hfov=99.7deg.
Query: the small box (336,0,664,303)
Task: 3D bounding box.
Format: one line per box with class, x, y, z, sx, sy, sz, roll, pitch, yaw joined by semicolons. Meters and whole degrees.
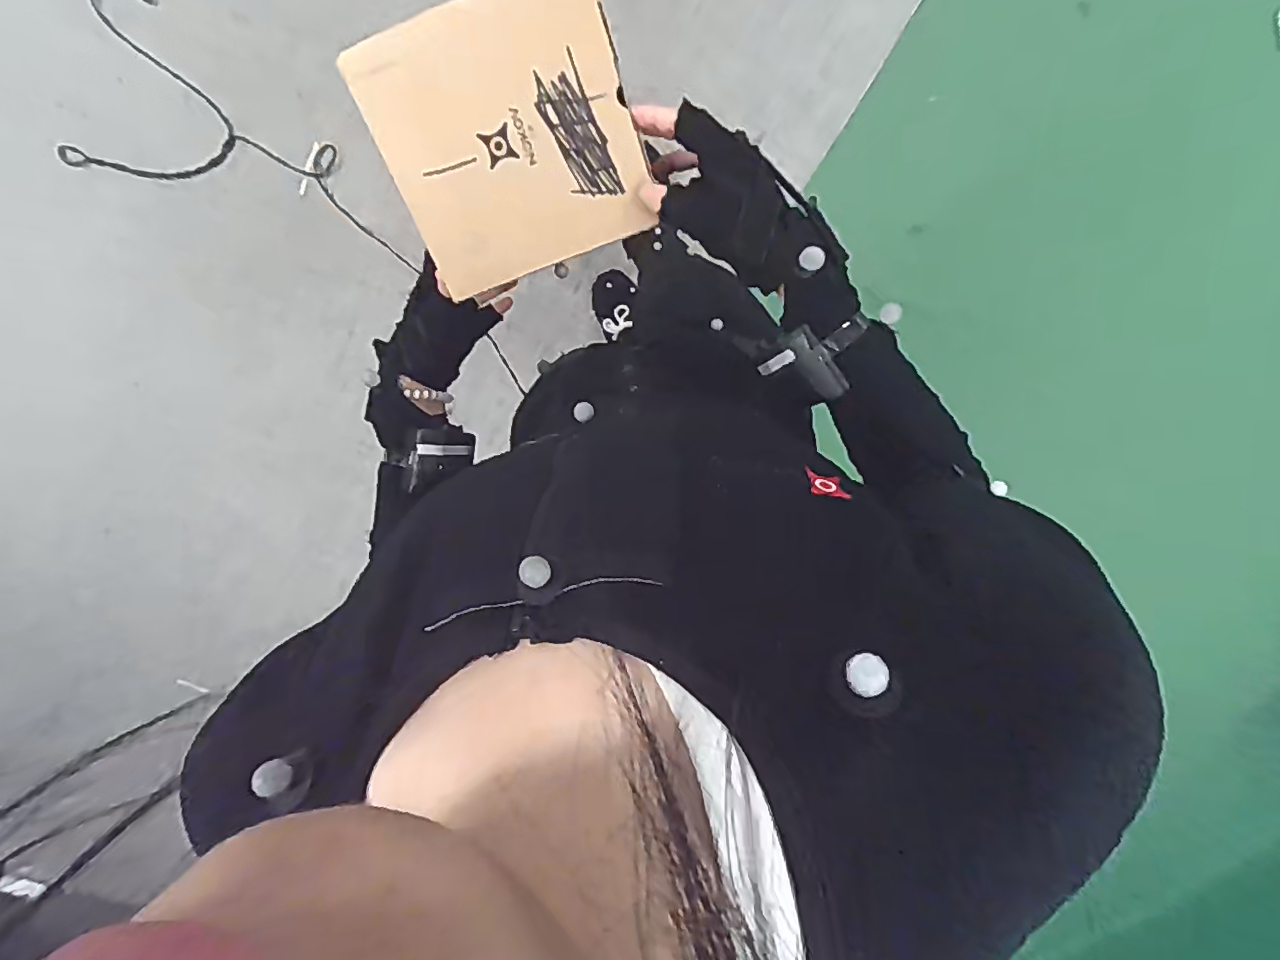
small box;-0.093;-0.265;0.441;0.179;0.176;0.168;-18;115;7
